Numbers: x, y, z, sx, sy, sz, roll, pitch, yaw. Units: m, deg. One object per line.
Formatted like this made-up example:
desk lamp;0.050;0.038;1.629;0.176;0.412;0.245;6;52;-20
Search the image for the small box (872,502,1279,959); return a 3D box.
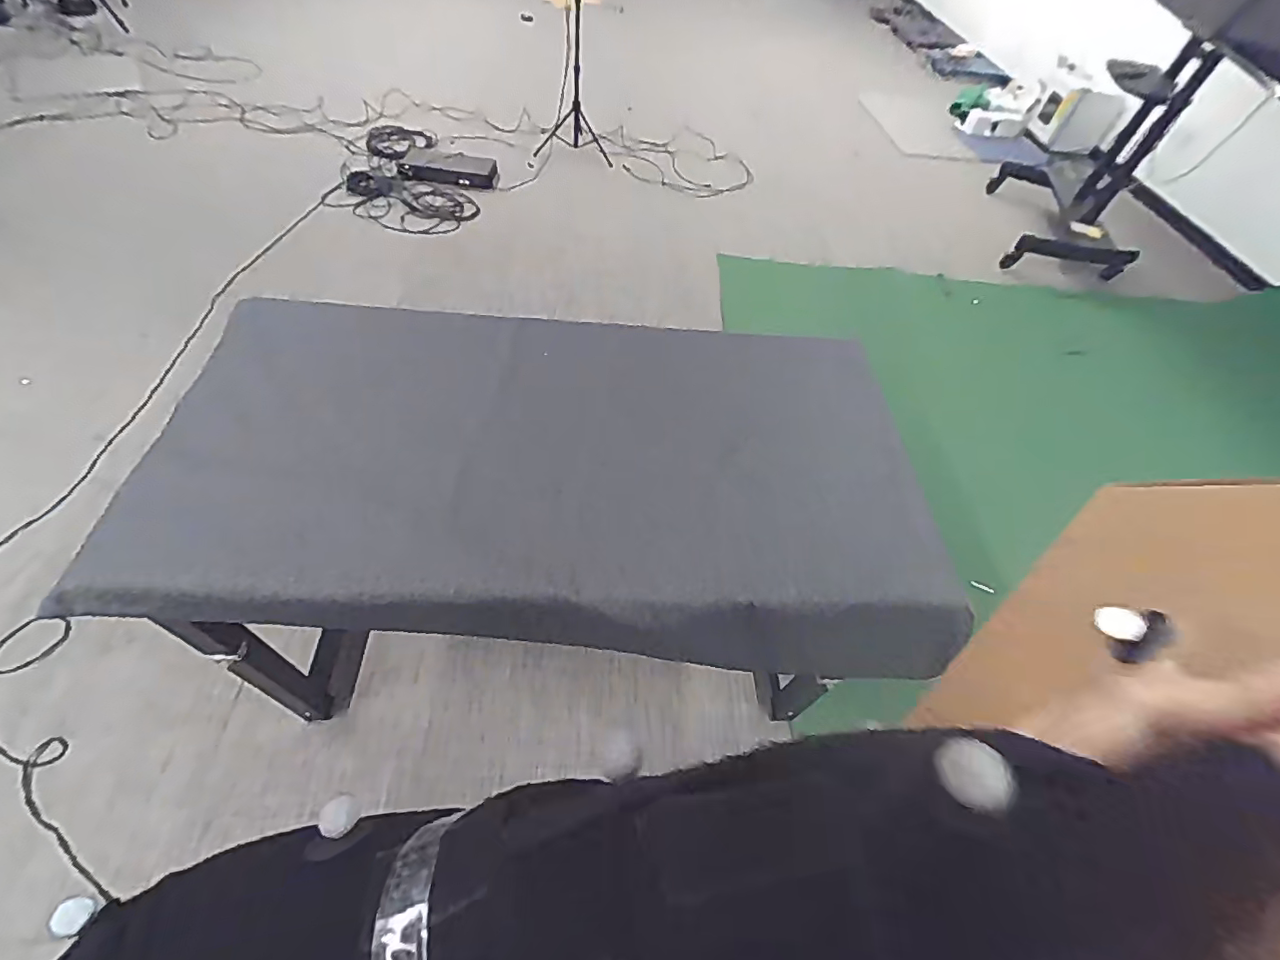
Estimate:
small box;0.221;0.124;0.188;0.168;0.179;0.176;40;90;5
